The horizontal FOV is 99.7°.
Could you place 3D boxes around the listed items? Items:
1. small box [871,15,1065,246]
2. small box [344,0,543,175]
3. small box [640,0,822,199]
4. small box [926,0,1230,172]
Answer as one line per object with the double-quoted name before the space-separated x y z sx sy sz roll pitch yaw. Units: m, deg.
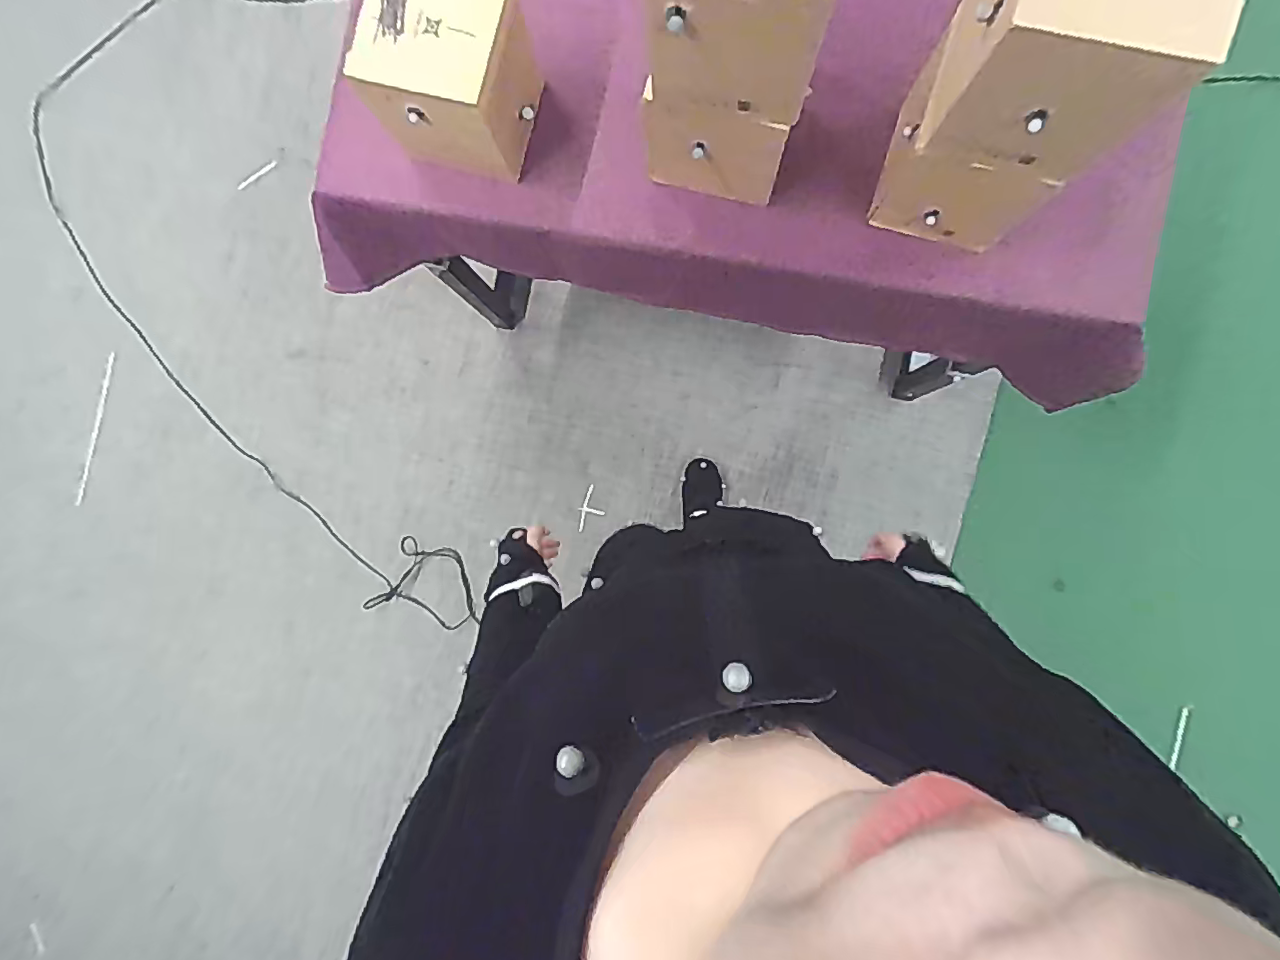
"small box" 0.414 -0.429 0.677 0.168 0.176 0.179 17 91 5
"small box" -0.250 -0.547 0.729 0.179 0.176 0.168 15 90 4
"small box" 0.111 -0.497 0.701 0.179 0.176 0.168 16 90 5
"small box" 0.402 -0.431 0.512 0.168 0.176 0.179 15 90 4
